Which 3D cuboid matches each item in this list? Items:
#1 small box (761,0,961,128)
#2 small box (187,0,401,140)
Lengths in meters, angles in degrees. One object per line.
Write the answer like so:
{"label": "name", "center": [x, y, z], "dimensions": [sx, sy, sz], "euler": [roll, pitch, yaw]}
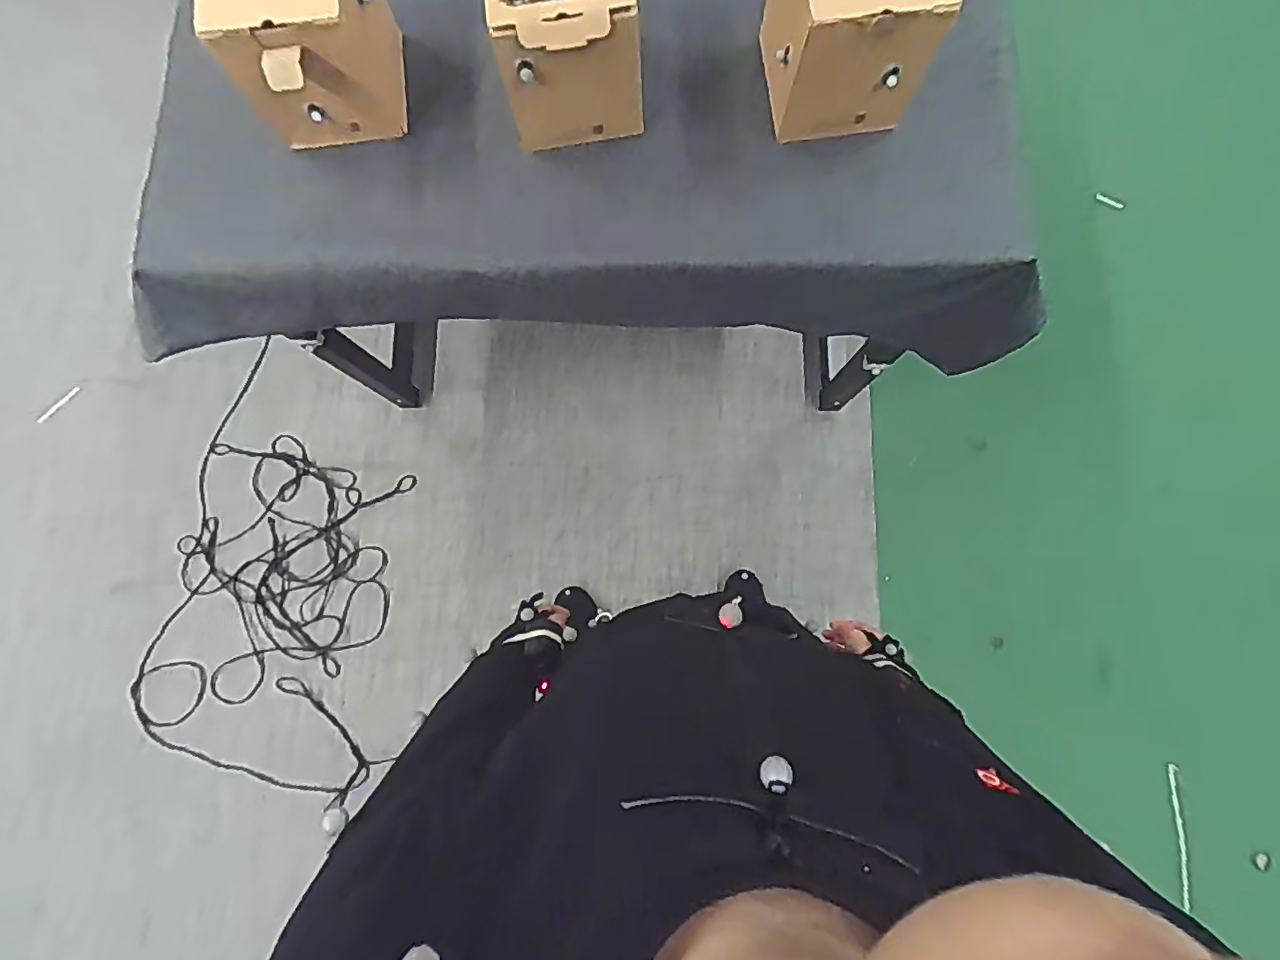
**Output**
{"label": "small box", "center": [0.255, -0.566, 0.662], "dimensions": [0.168, 0.176, 0.179], "euler": [-7, 79, -1]}
{"label": "small box", "center": [-0.418, -0.573, 0.681], "dimensions": [0.168, 0.176, 0.179], "euler": [-7, 81, 0]}
